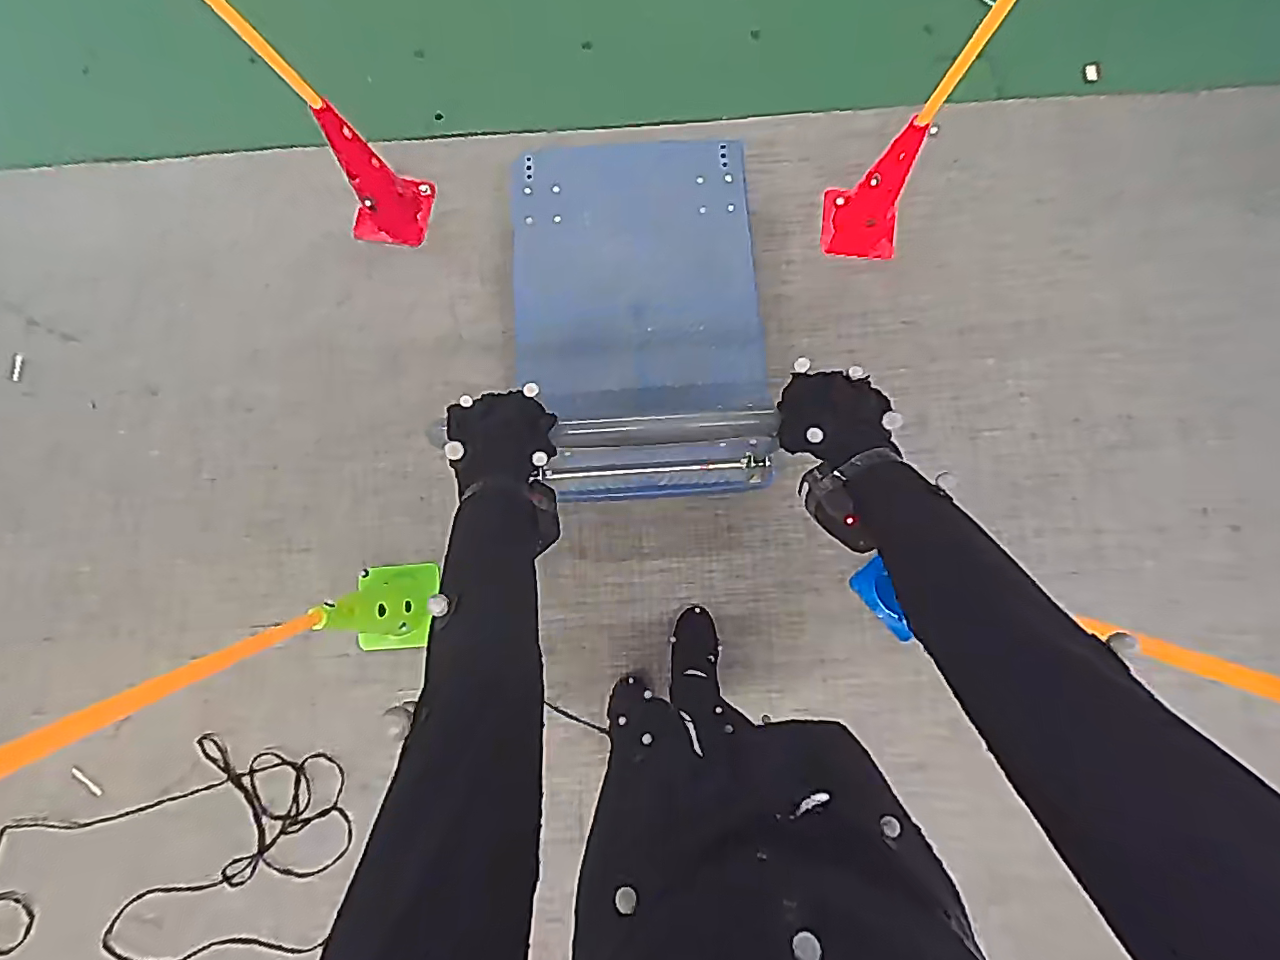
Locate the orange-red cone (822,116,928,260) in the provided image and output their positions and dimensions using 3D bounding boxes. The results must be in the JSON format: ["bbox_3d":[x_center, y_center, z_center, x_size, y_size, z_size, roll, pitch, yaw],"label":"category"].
[{"bbox_3d":[0.602,-0.730,1.322,0.198,0.360,0.199,8,82,3],"label":"orange-red cone"}]
